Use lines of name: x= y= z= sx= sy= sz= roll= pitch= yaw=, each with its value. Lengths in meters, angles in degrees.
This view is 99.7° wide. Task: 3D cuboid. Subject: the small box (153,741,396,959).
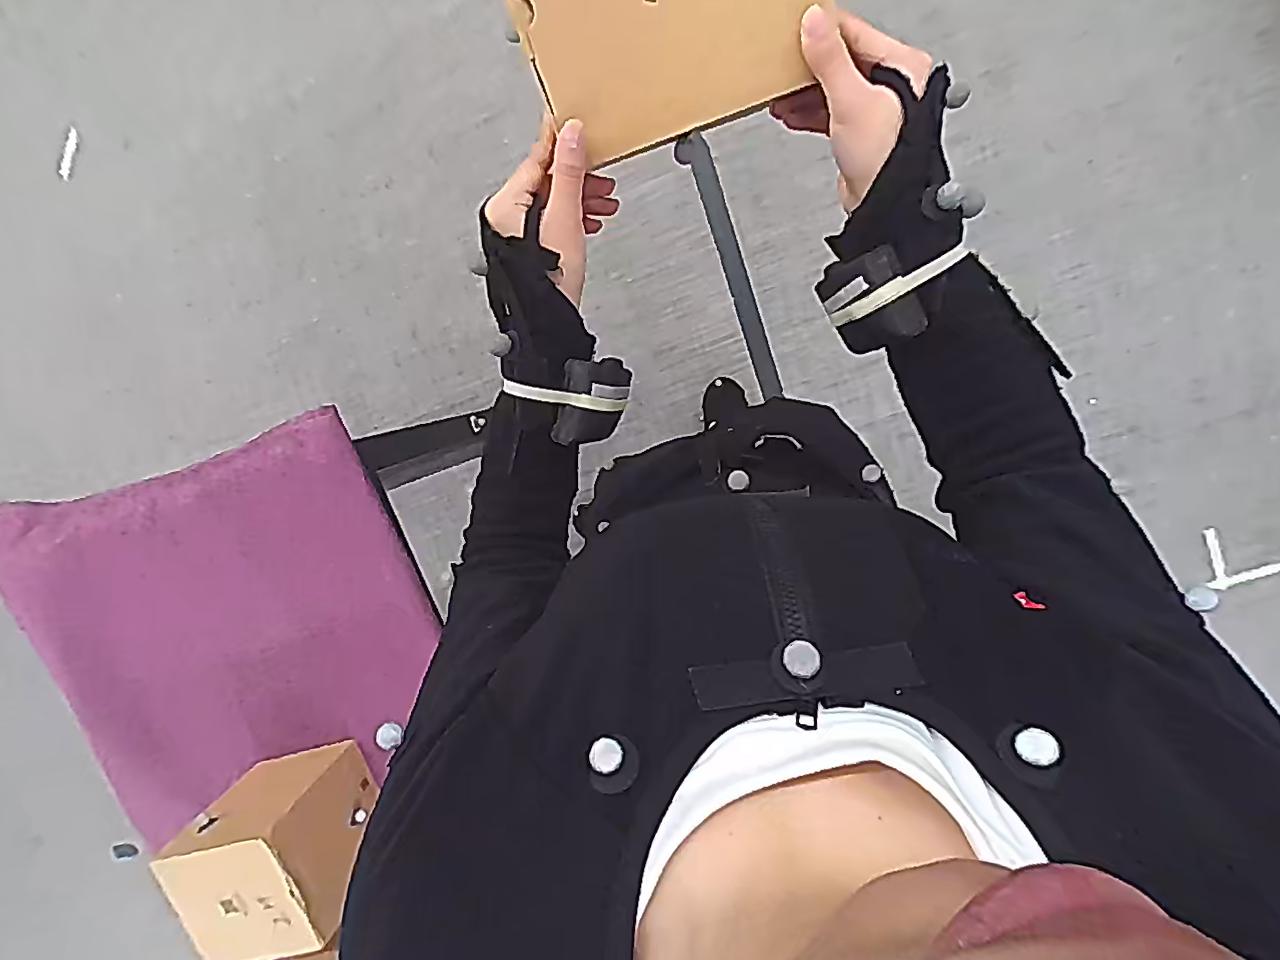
small box: x=-0.469 y=0.484 z=0.722 sx=0.179 sy=0.176 sz=0.168 roll=-18 pitch=100 yaw=10

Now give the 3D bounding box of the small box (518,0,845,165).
small box: x=0.009 y=-0.327 z=0.357 sx=0.179 sy=0.176 sz=0.168 roll=-18 pitch=118 yaw=5
